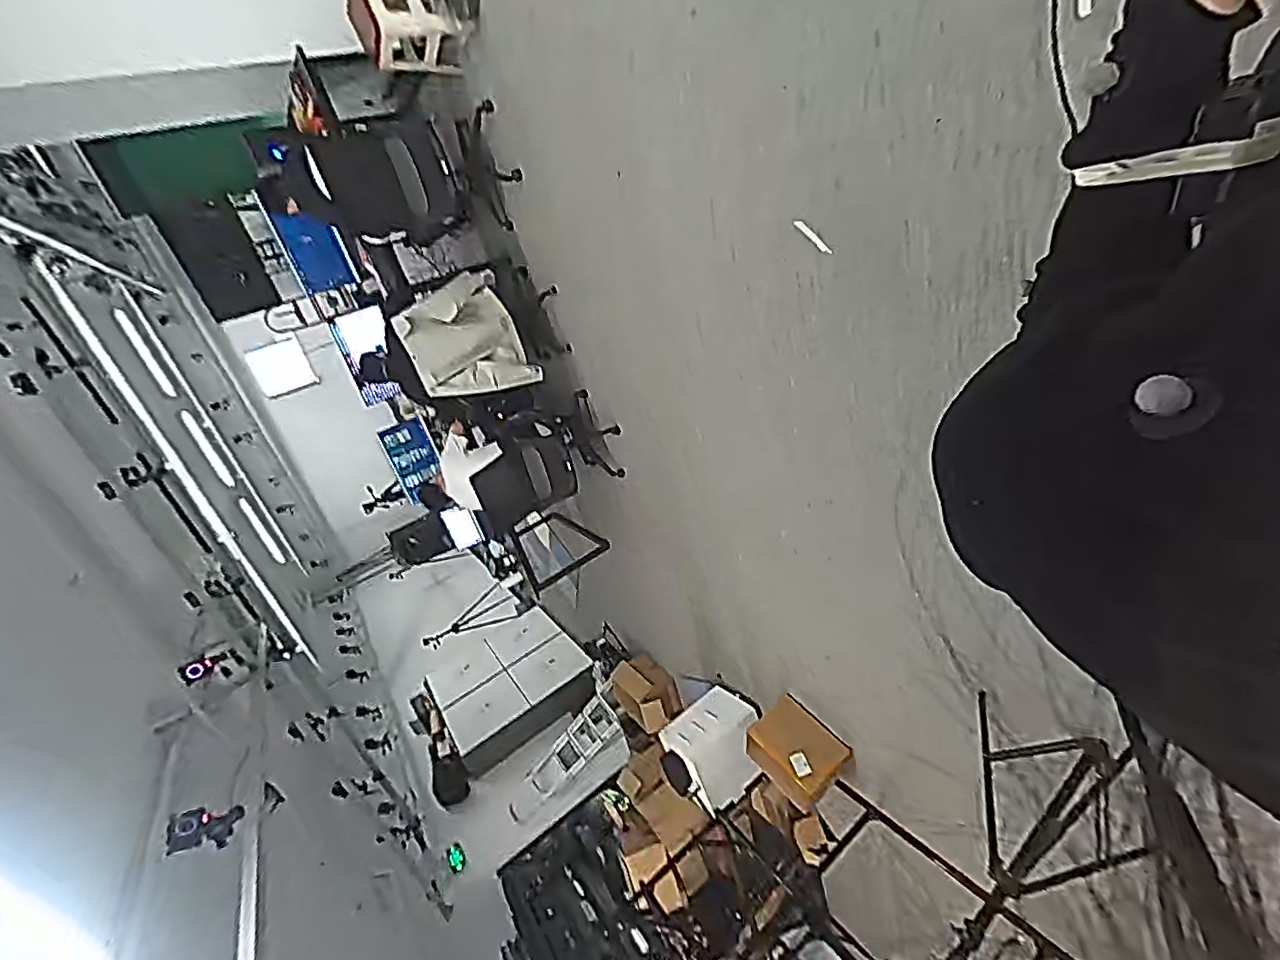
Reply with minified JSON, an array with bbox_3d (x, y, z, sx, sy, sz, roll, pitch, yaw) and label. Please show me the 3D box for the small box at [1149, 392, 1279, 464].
[{"bbox_3d":[0.692,0.014,0.593,0.179,0.176,0.168,25,137,51],"label":"small box"}]
